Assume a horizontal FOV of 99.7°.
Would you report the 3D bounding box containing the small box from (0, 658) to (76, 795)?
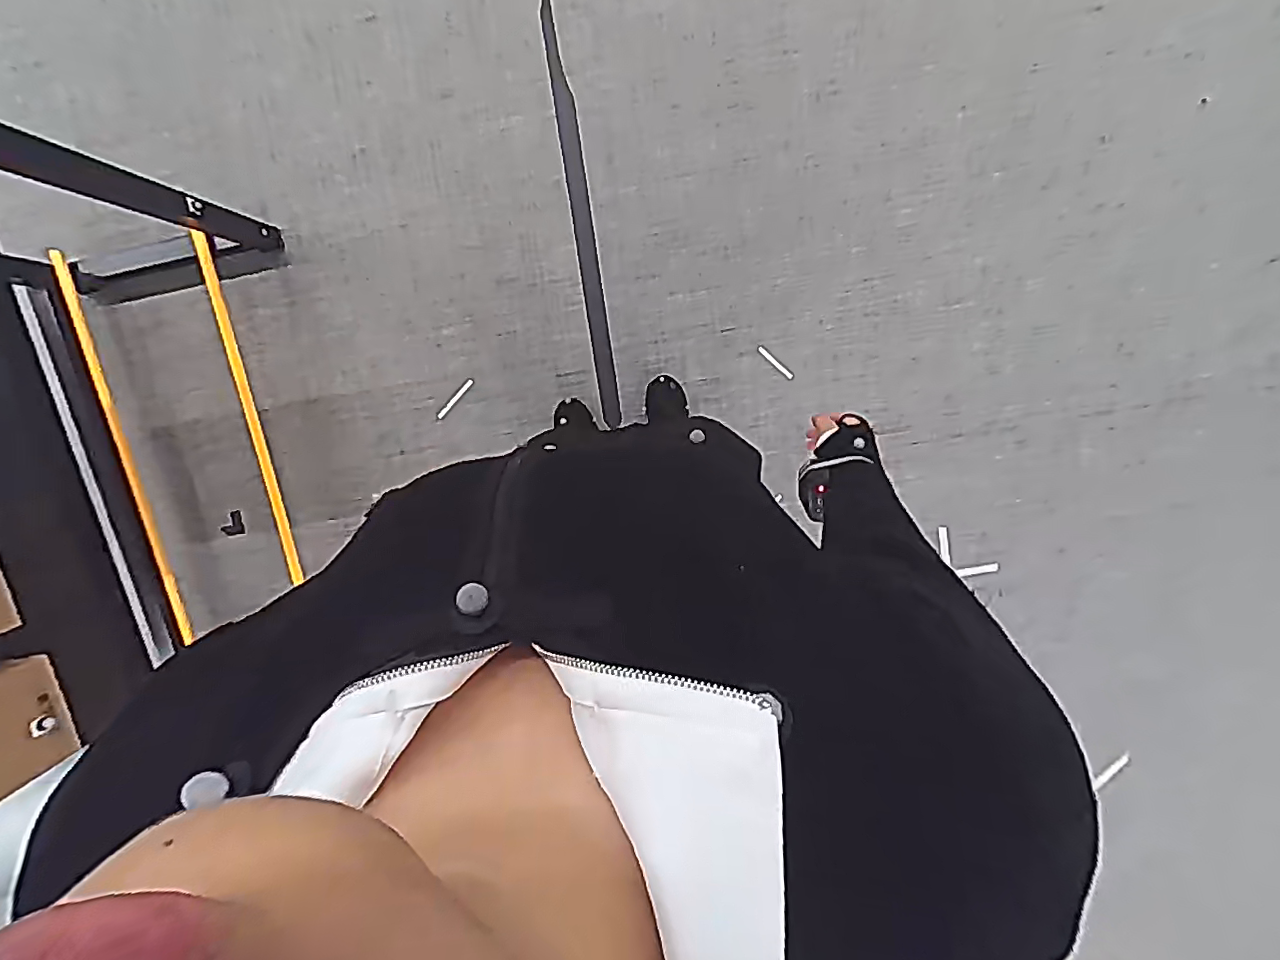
[{"bbox_3d":[-0.974,0.371,0.755,0.179,0.176,0.168,-10,102,3],"label":"small box"}]
